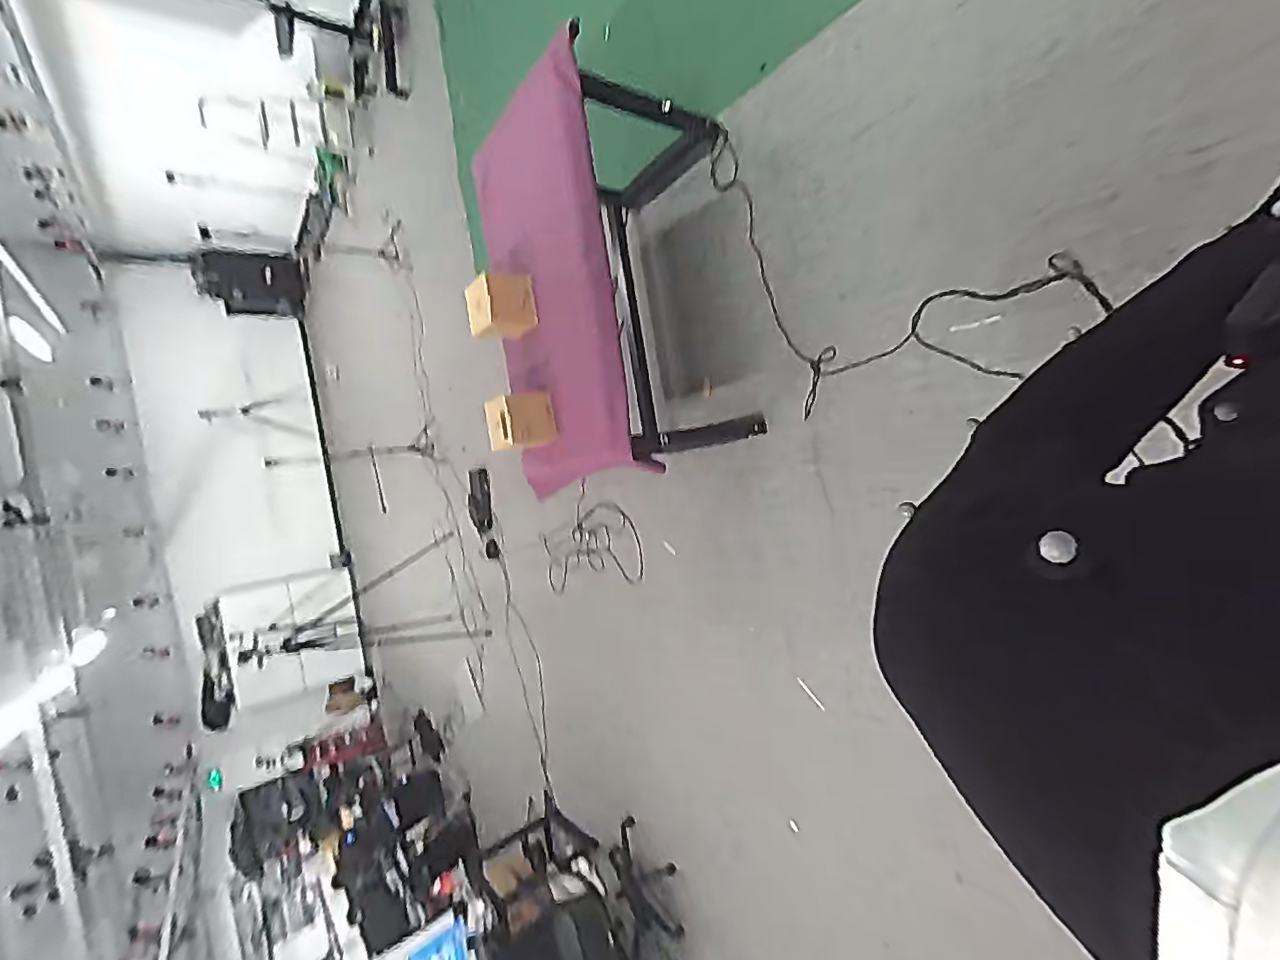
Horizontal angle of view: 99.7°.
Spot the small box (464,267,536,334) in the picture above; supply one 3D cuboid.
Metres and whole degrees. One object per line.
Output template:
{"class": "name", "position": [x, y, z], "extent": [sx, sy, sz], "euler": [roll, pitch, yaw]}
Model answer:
{"class": "small box", "position": [-0.473, -0.599, 1.829], "extent": [0.179, 0.176, 0.168], "euler": [-7, 93, 51]}
